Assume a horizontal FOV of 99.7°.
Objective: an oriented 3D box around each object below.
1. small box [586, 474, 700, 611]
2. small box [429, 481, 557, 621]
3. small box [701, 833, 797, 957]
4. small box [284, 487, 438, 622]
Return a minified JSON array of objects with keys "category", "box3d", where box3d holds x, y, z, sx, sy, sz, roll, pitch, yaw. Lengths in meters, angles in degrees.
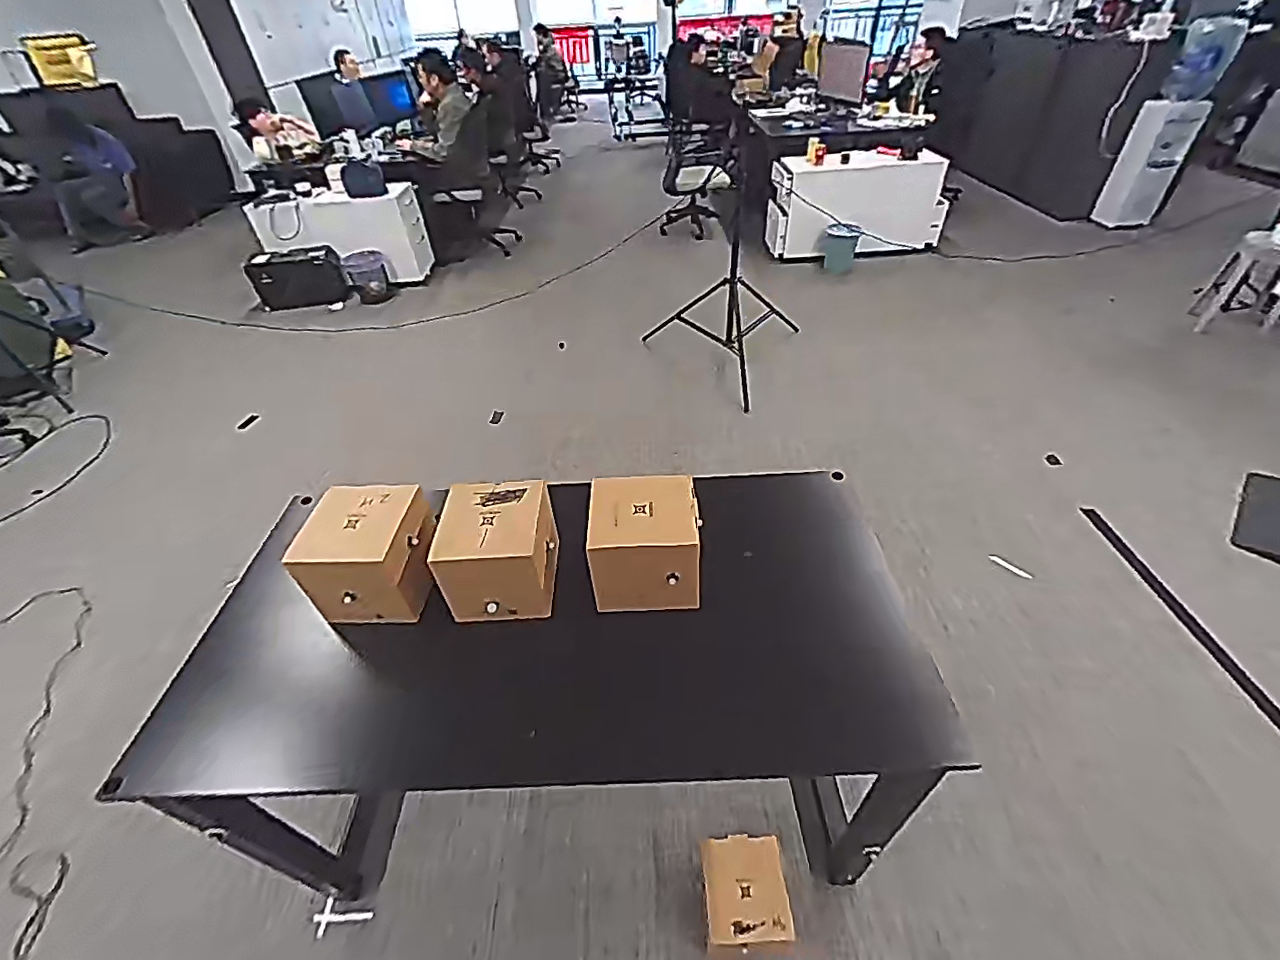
[{"category":"small box","box3d":[0.008,0.110,0.934,0.179,0.176,0.168,-4,40,2]},{"category":"small box","box3d":[-0.241,0.123,0.937,0.168,0.176,0.179,-4,42,1]},{"category":"small box","box3d":[0.221,0.879,1.146,0.168,0.176,0.179,-5,41,1]},{"category":"small box","box3d":[-0.465,0.132,0.946,0.168,0.176,0.179,-1,42,3]}]
